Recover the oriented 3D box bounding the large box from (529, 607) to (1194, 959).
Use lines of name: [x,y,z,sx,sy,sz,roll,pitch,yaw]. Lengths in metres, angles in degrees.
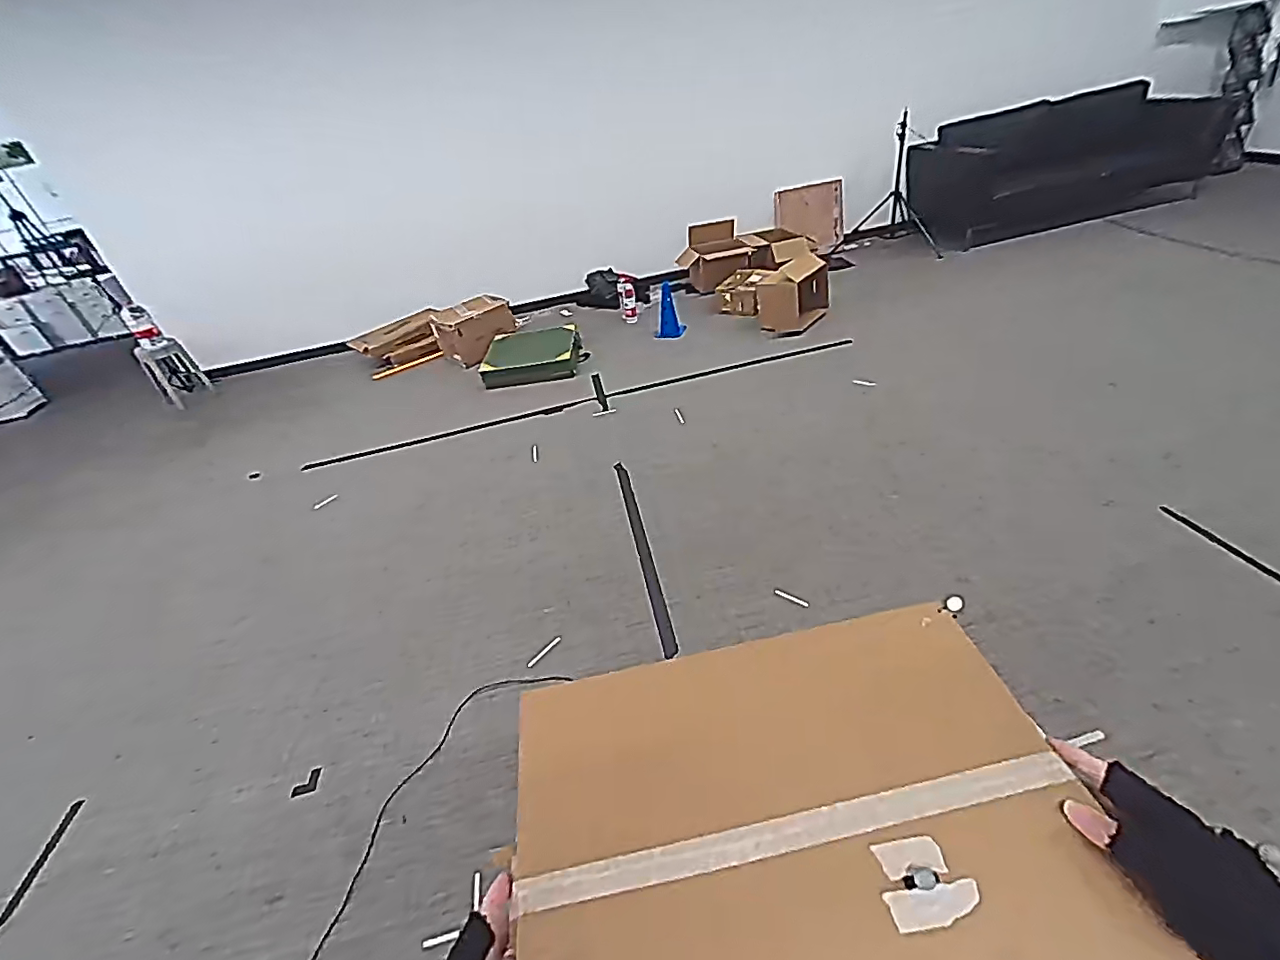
large box: [0.133,0.371,0.492,0.408,0.320,0.320,-12,40,-3]
